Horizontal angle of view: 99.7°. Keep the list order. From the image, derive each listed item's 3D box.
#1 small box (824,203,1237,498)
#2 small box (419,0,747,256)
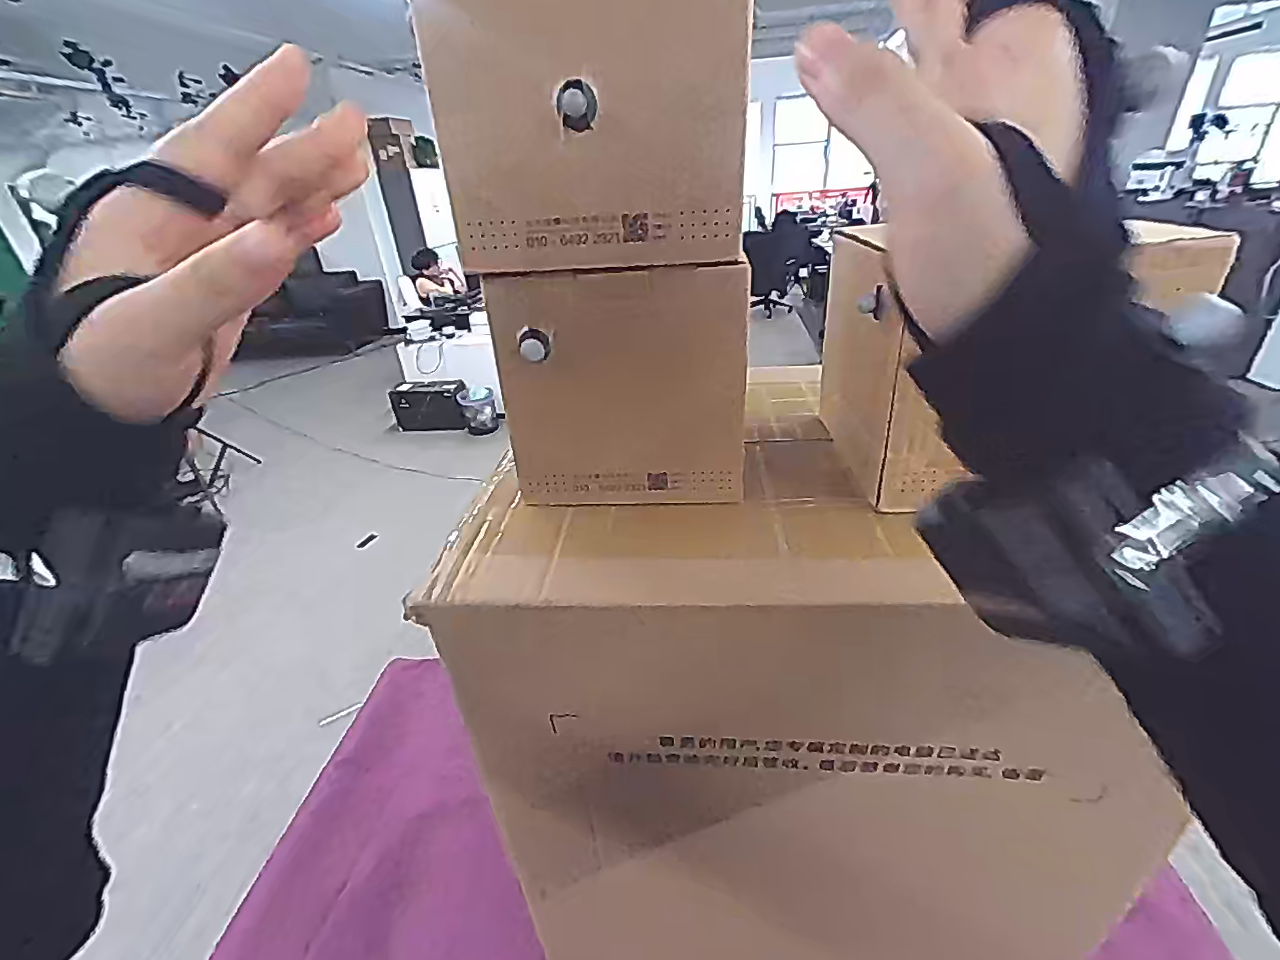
[{"bbox_3d":[0.243,-0.102,0.401,0.168,0.176,0.179,-3,30,5],"label":"small box"},{"bbox_3d":[-0.023,-0.242,0.350,0.168,0.176,0.179,-2,29,2],"label":"small box"}]
